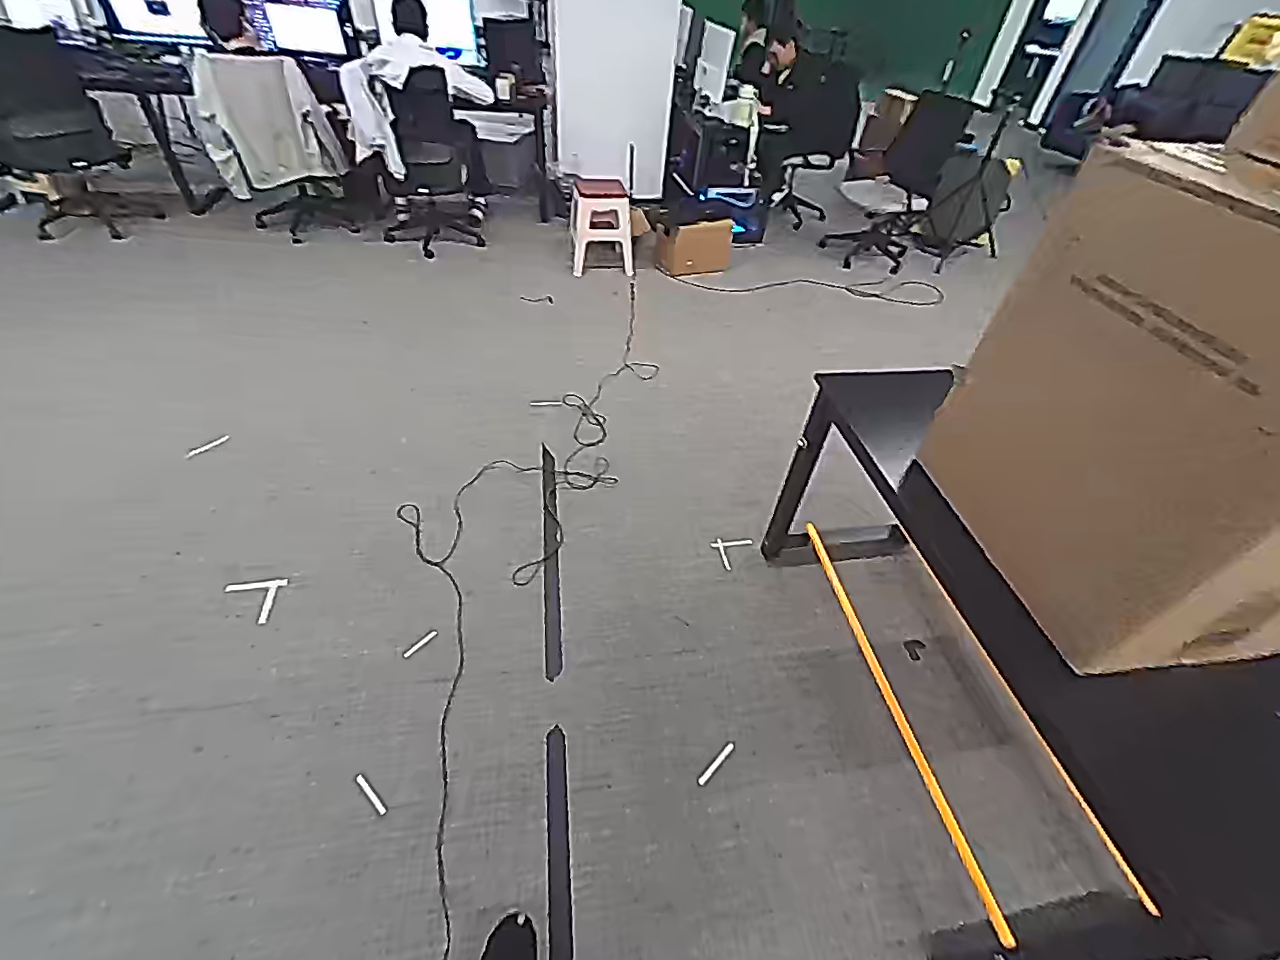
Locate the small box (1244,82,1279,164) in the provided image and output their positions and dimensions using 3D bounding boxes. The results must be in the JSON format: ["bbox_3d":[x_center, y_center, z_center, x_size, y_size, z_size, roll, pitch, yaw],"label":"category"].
[{"bbox_3d":[0.960,-0.489,0.691,0.179,0.176,0.168,-3,46,-9],"label":"small box"}]
